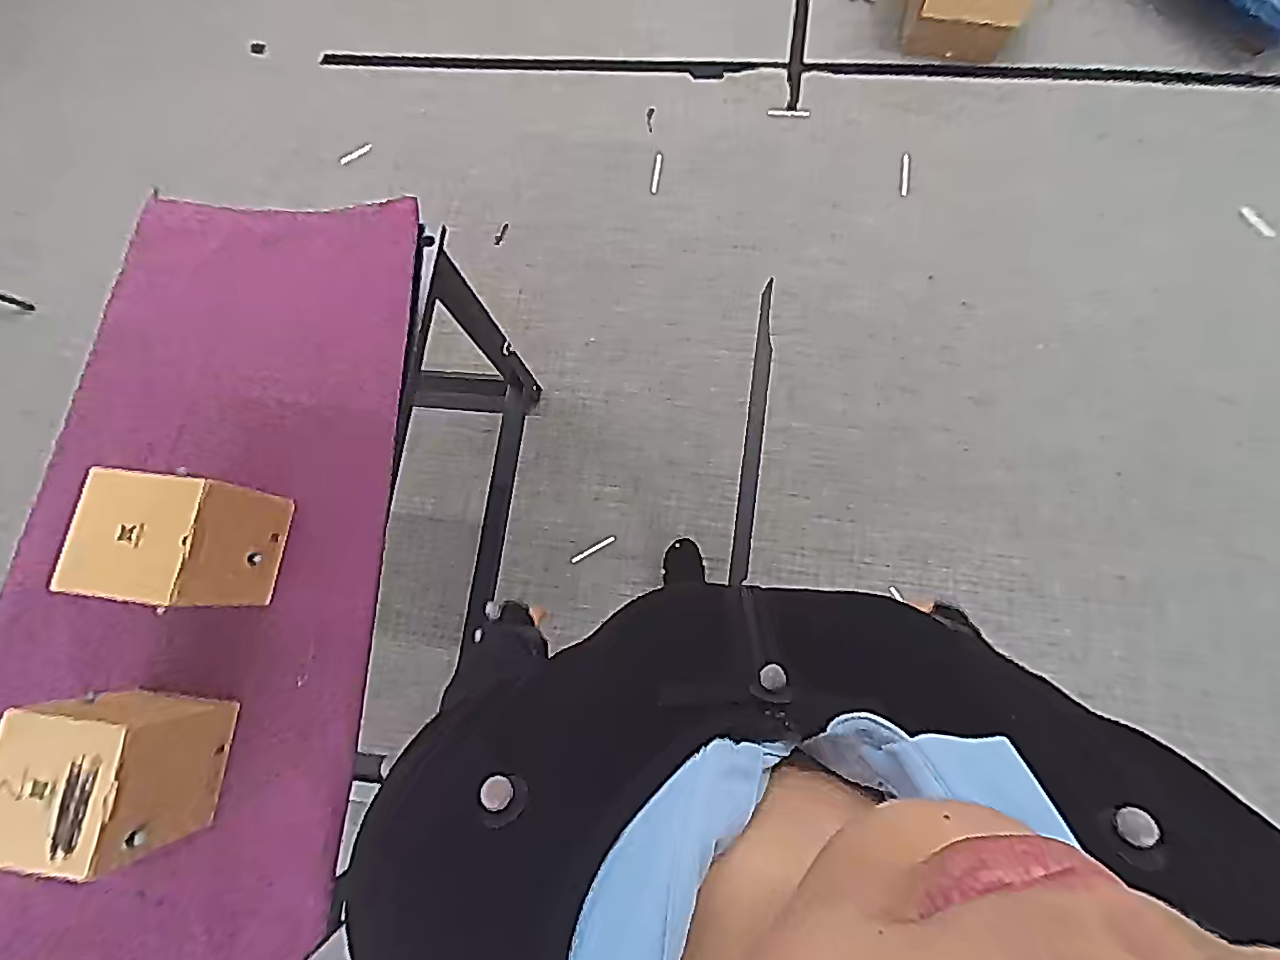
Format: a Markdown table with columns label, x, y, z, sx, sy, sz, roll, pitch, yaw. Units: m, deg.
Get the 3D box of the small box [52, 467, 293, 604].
| label | x | y | z | sx | sy | sz | roll | pitch | yaw |
| --- | --- | --- | --- | --- | --- | --- | --- | --- | --- |
| small box | -0.655 | 0.087 | 0.781 | 0.179 | 0.176 | 0.168 | 5 | 78 | 6 |
